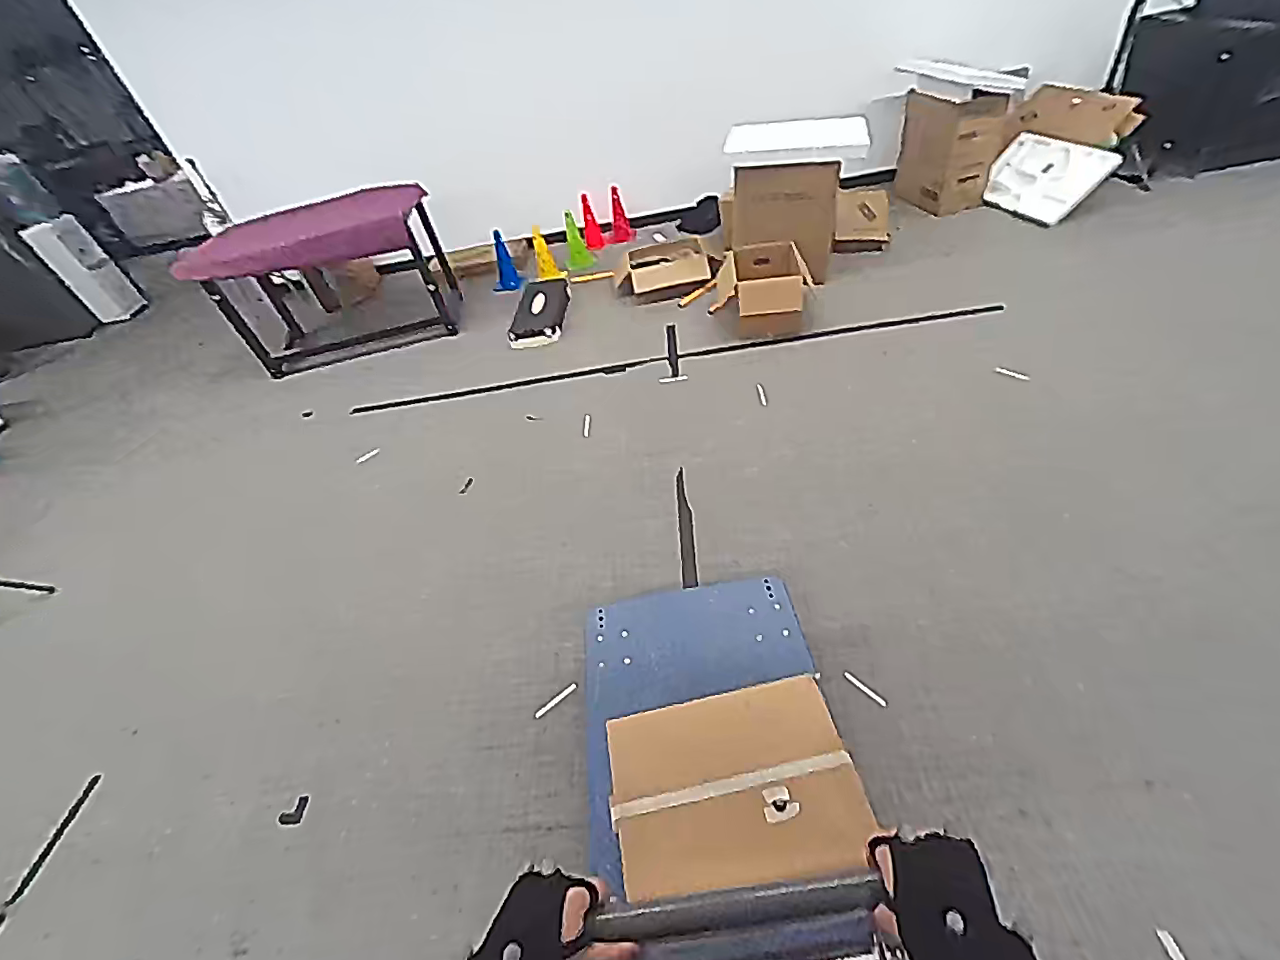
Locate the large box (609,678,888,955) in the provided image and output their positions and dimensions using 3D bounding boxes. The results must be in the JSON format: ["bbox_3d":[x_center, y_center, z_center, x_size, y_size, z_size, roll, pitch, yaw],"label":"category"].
[{"bbox_3d":[0.180,0.631,1.016,0.408,0.320,0.320,-13,43,-1],"label":"large box"}]
